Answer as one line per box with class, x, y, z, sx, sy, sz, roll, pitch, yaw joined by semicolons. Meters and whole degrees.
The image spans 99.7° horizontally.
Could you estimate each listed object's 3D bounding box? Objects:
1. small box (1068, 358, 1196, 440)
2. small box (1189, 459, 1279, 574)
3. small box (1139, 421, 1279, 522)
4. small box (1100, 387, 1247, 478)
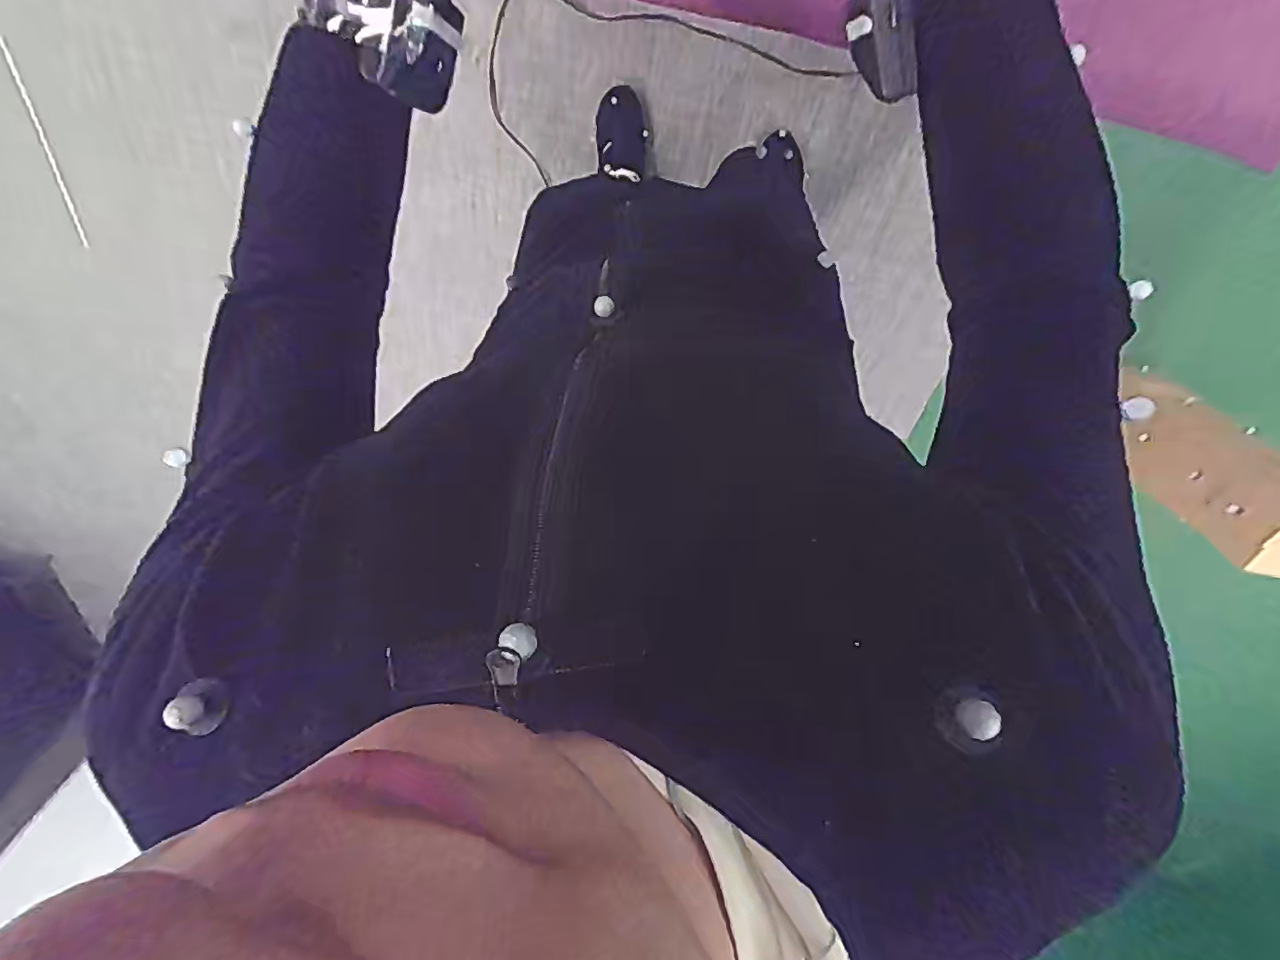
small box;1.339;-0.211;1.493;0.168;0.176;0.179;12;127;-3
small box;1.304;0.077;1.099;0.179;0.176;0.168;11;127;-1
small box;1.315;-0.015;1.235;0.168;0.176;0.179;9;127;0
small box;1.327;-0.110;1.367;0.168;0.176;0.179;10;126;-1
